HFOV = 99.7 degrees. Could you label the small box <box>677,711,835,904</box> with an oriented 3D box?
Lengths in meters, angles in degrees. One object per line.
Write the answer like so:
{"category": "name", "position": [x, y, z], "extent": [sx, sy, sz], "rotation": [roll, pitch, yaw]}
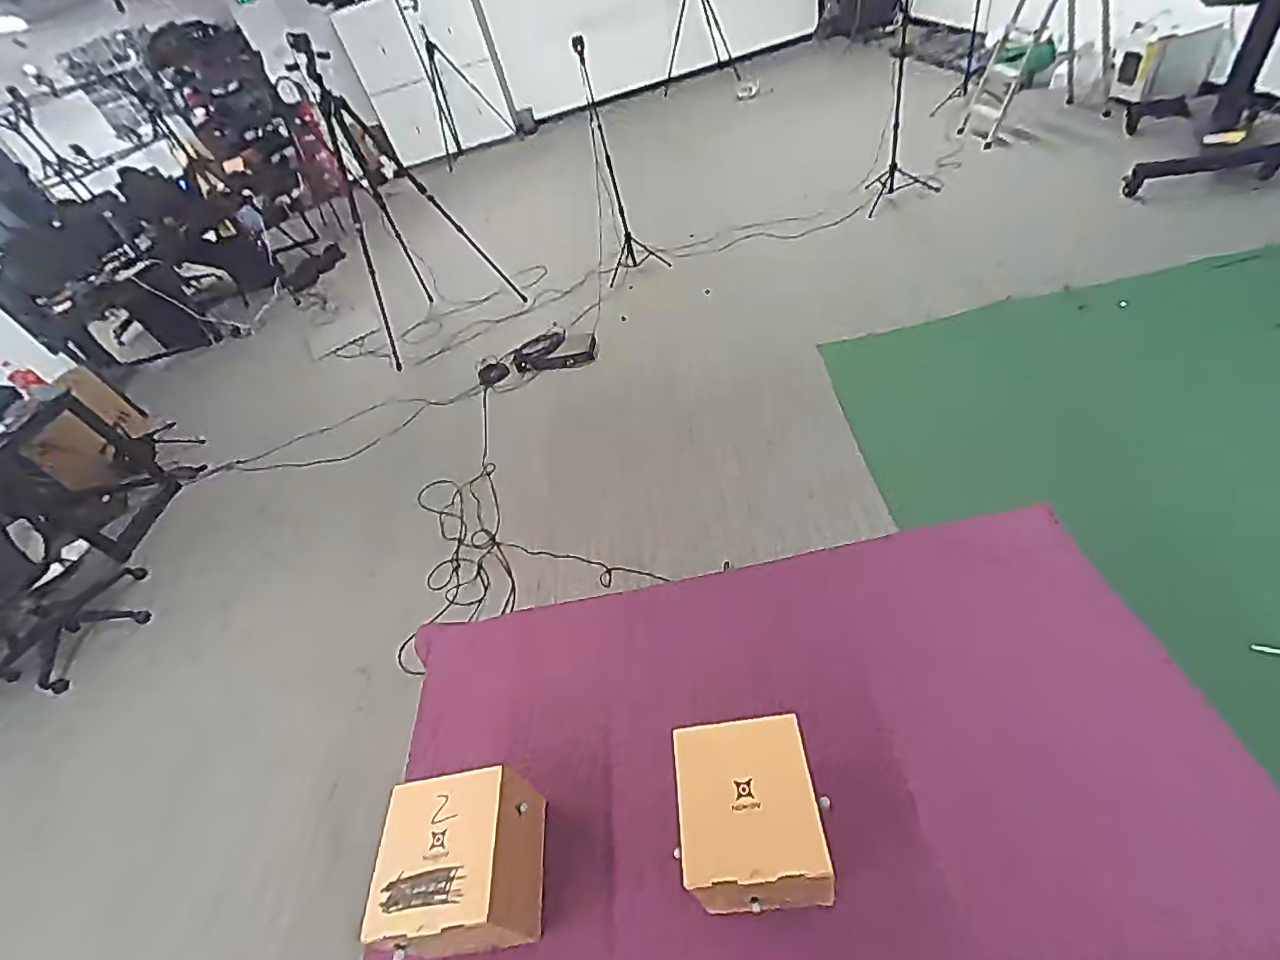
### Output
{"category": "small box", "position": [0.147, 0.432, 0.712], "extent": [0.168, 0.176, 0.179], "rotation": [-11, 45, 8]}
